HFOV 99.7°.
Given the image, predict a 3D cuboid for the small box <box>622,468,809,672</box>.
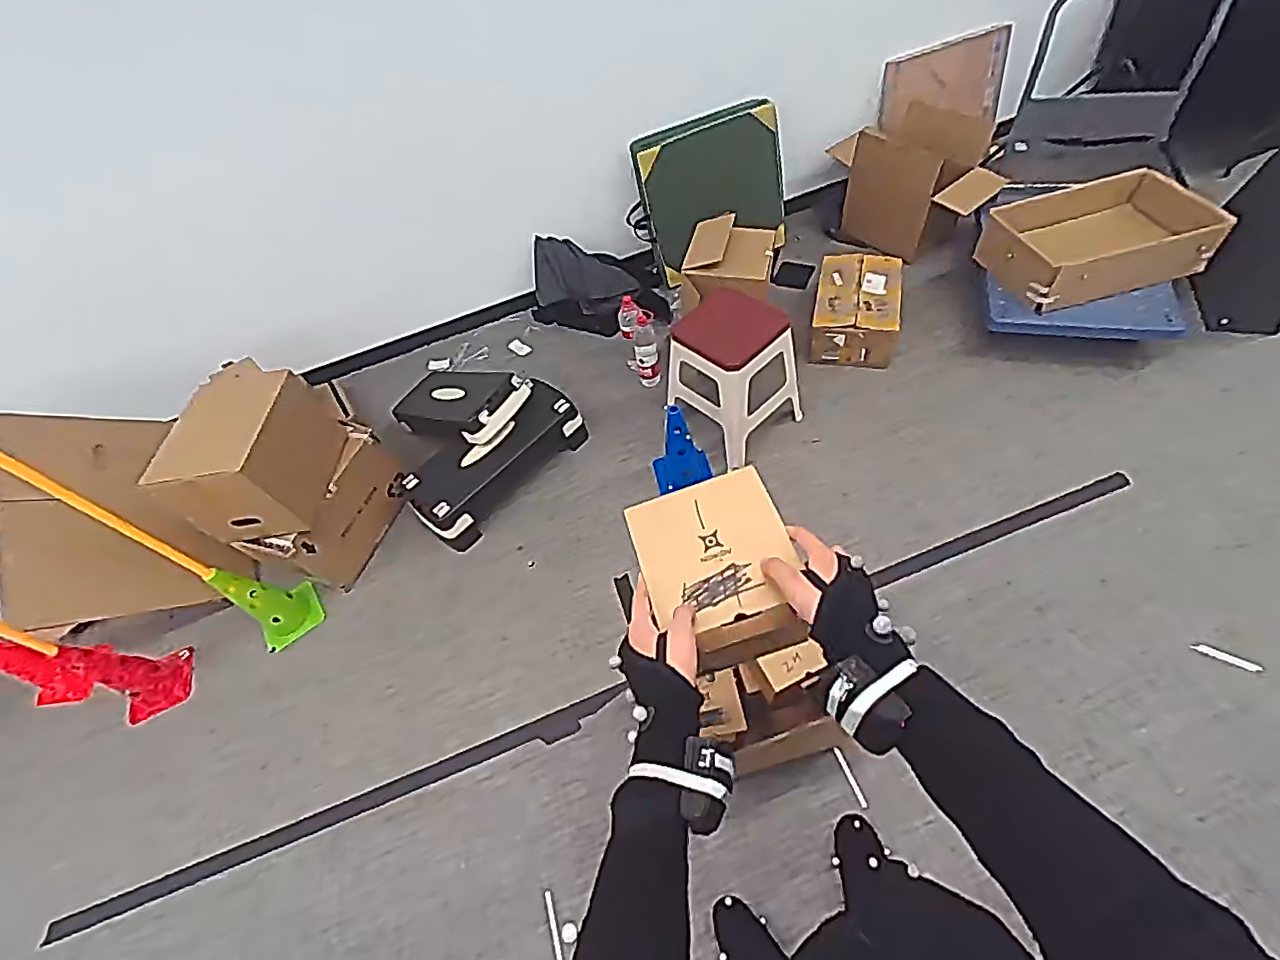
[{"bbox_3d":[0.092,0.120,0.660,0.168,0.176,0.179,-19,56,1],"label":"small box"}]
